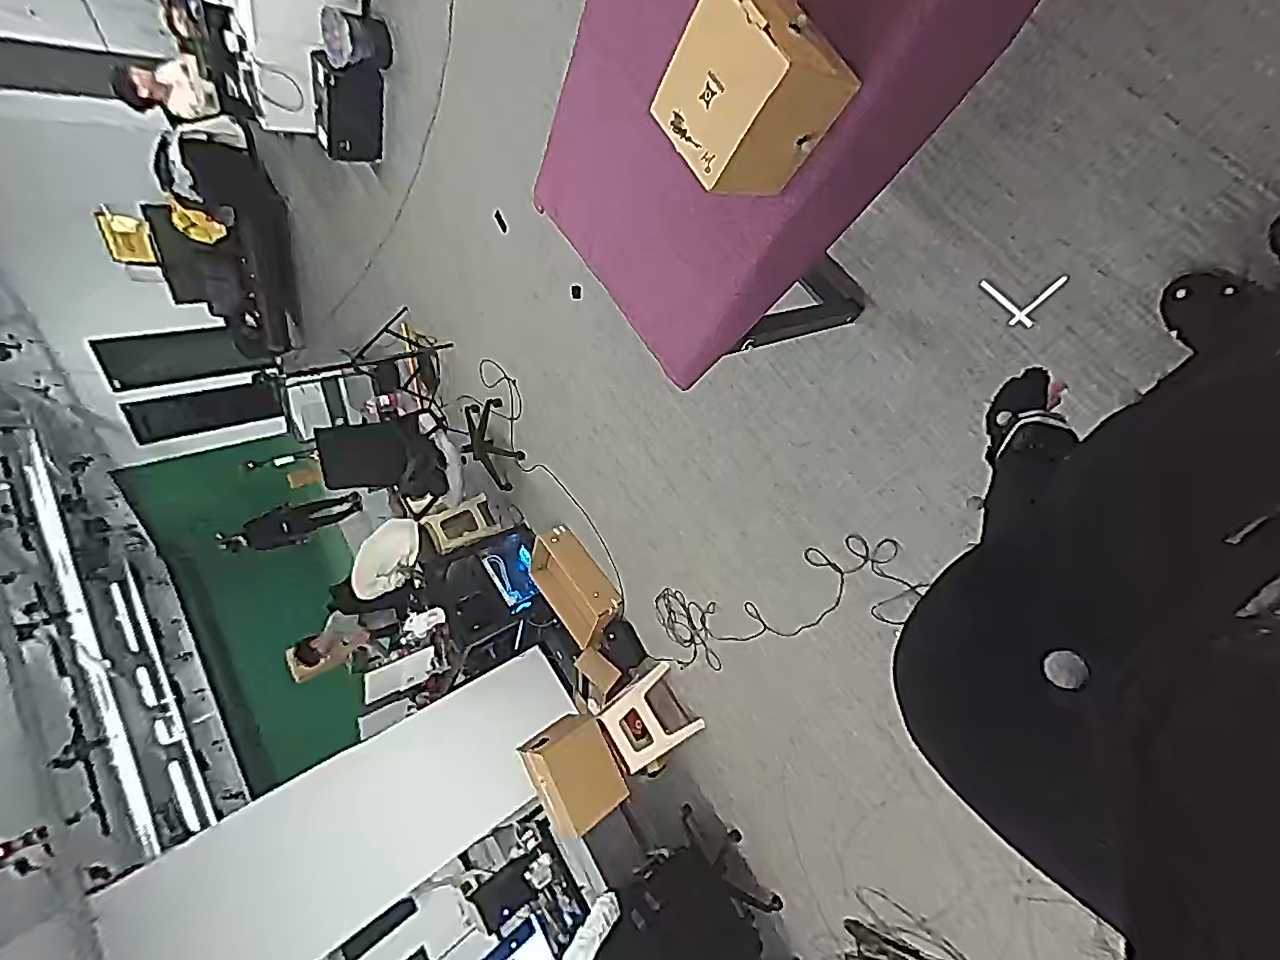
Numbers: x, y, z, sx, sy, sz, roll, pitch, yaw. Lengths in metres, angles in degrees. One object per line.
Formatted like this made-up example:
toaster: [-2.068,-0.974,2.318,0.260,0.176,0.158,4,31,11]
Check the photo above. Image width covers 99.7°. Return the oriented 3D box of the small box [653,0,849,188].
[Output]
small box: [0.156,-0.532,0.740,0.168,0.176,0.179,60,142,12]
